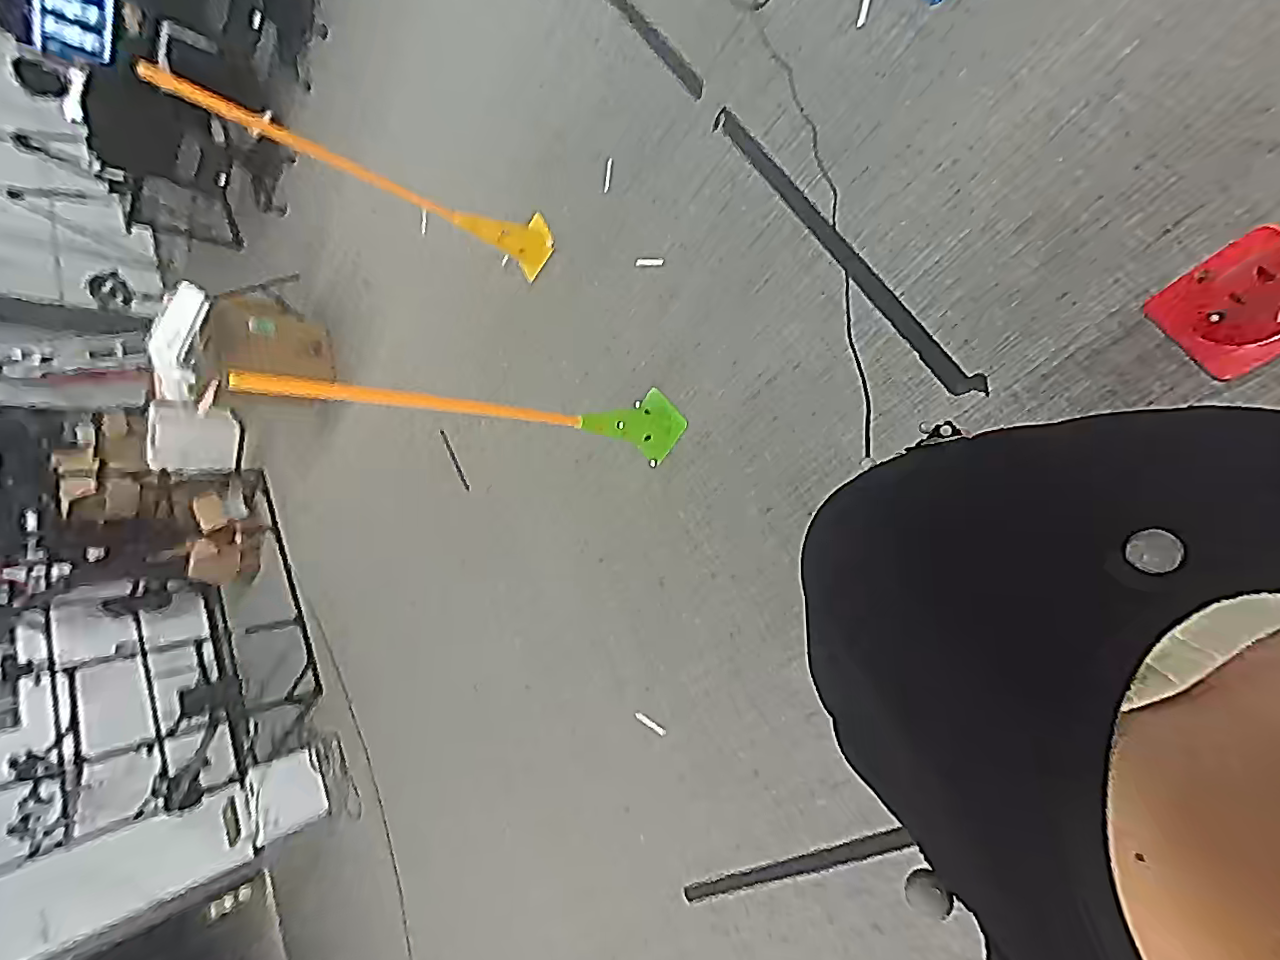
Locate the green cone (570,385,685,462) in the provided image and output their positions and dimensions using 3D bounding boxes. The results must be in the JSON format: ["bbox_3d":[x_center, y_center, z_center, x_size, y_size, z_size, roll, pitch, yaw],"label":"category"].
[{"bbox_3d":[-0.064,-0.187,1.679,0.202,0.368,0.200,52,122,29],"label":"green cone"}]
